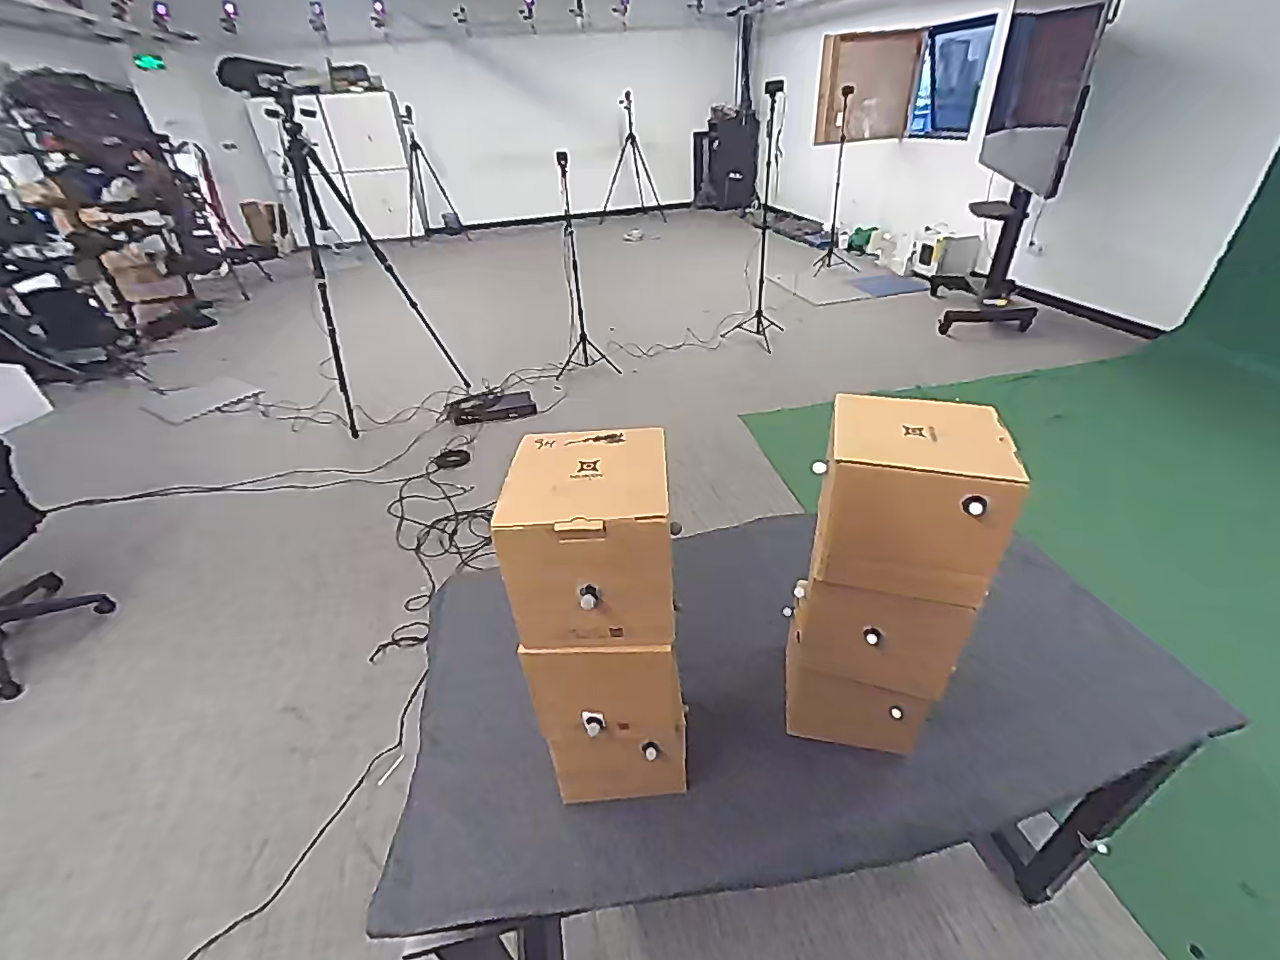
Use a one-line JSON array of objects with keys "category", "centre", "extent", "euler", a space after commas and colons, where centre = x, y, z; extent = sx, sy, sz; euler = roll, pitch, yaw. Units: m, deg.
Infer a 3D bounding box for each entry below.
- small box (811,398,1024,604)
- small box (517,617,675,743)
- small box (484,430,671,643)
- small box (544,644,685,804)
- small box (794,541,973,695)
[{"category": "small box", "centre": [0.298, 0.020, 0.623], "extent": [0.179, 0.176, 0.168], "euler": [8, 35, 16]}, {"category": "small box", "centre": [-0.042, 0.203, 0.682], "extent": [0.168, 0.176, 0.179], "euler": [-3, 35, 4]}, {"category": "small box", "centre": [-0.053, 0.064, 0.596], "extent": [0.168, 0.176, 0.179], "euler": [-3, 34, 3]}, {"category": "small box", "centre": [-0.032, 0.336, 0.776], "extent": [0.179, 0.176, 0.168], "euler": [-5, 33, -1]}, {"category": "small box", "centre": [0.309, 0.154, 0.713], "extent": [0.179, 0.176, 0.168], "euler": [8, 35, 18]}]
